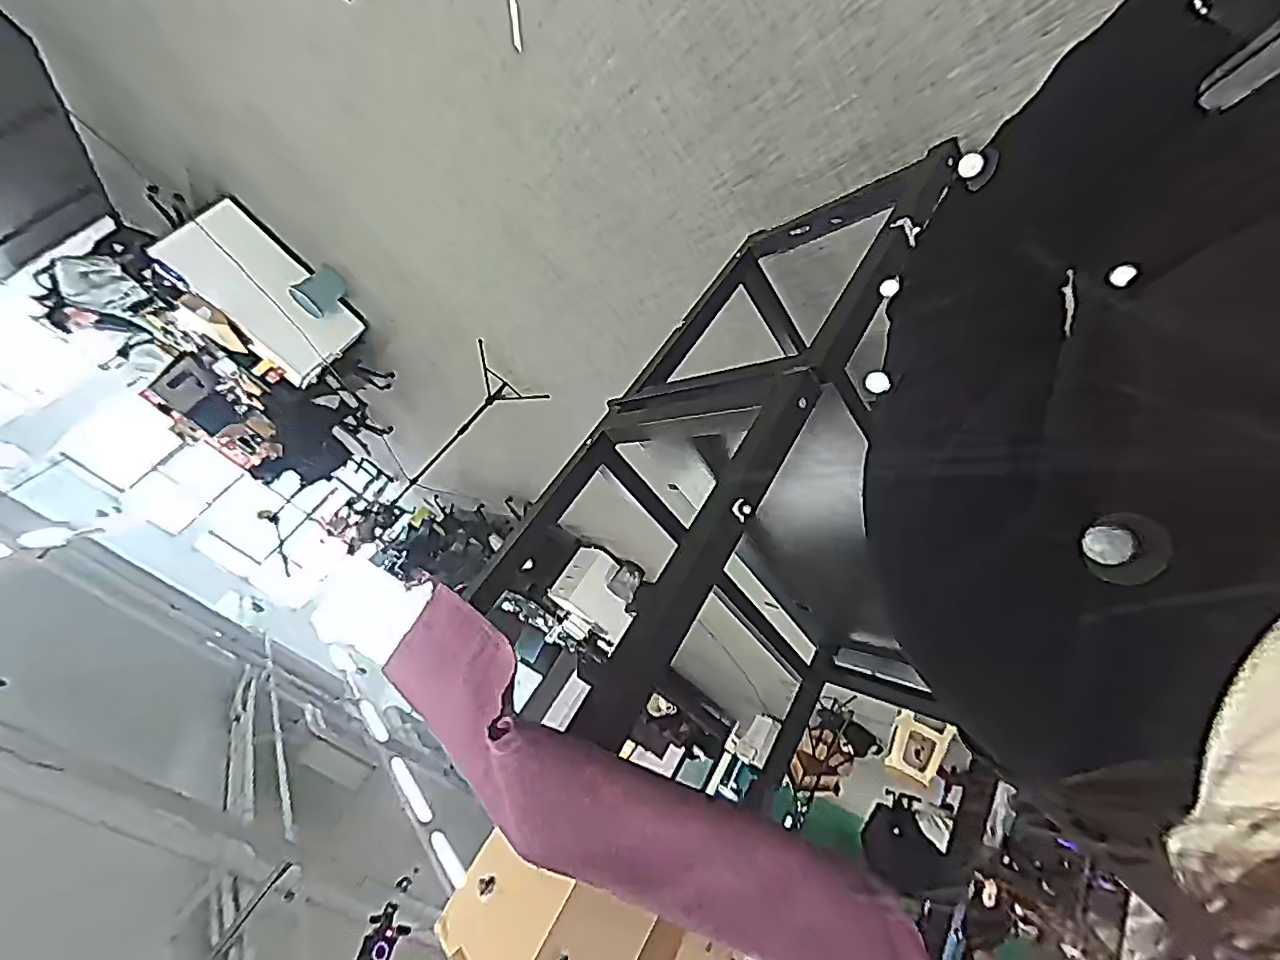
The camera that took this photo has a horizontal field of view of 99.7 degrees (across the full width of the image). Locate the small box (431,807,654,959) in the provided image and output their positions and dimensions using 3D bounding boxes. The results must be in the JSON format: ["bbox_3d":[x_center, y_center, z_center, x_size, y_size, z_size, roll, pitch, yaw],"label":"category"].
[{"bbox_3d":[-0.117,0.551,0.678,0.168,0.176,0.179,7,145,50],"label":"small box"}]
